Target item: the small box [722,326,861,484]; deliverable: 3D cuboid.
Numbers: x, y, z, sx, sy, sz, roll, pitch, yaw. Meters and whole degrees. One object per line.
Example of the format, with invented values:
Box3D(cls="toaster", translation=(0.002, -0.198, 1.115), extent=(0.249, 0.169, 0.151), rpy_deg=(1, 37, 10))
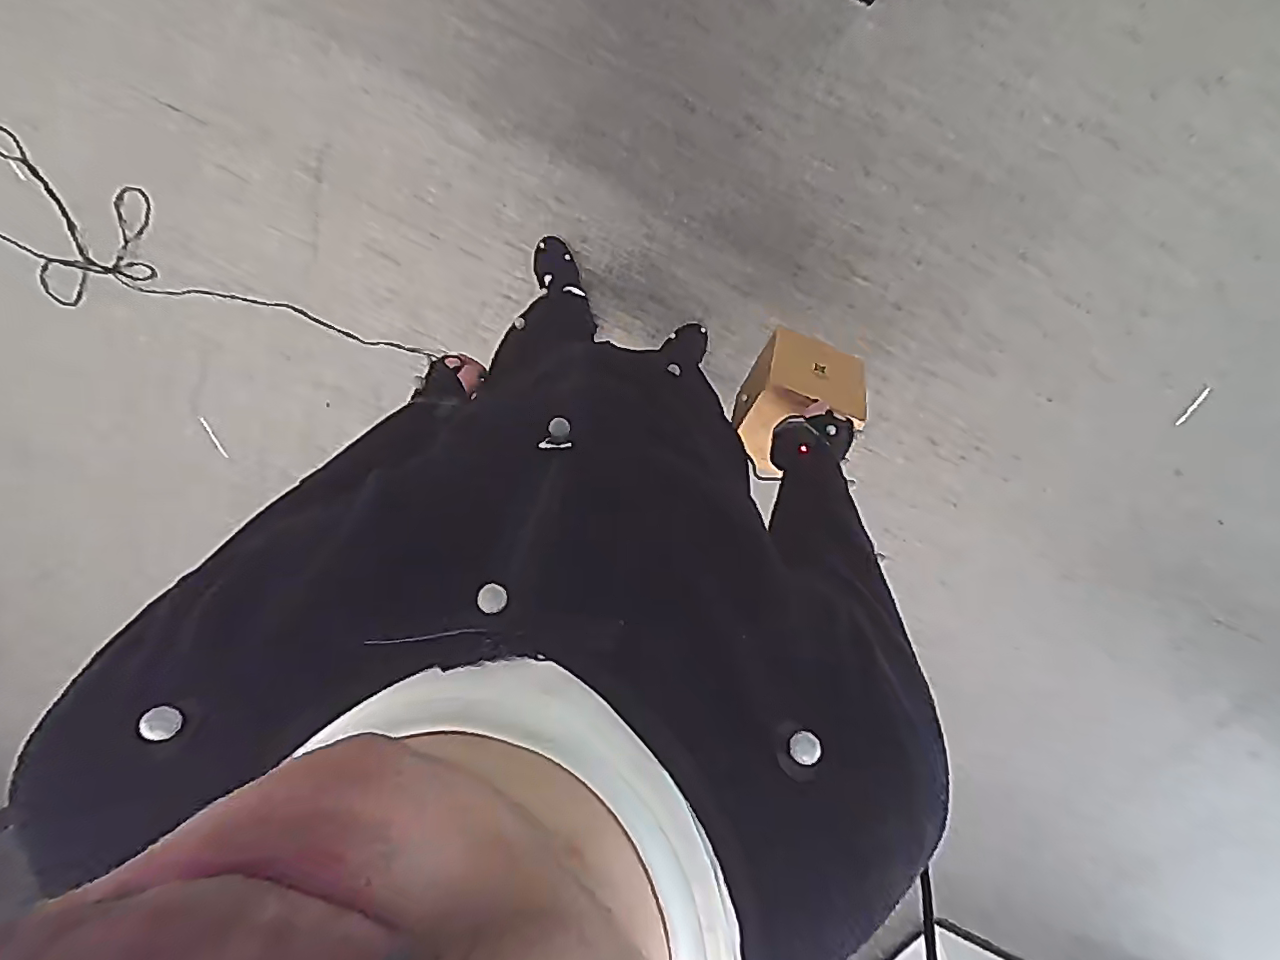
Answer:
Box3D(cls="small box", translation=(0.253, -0.122, 0.920), extent=(0.168, 0.179, 0.176), rpy_deg=(24, 135, -4))
